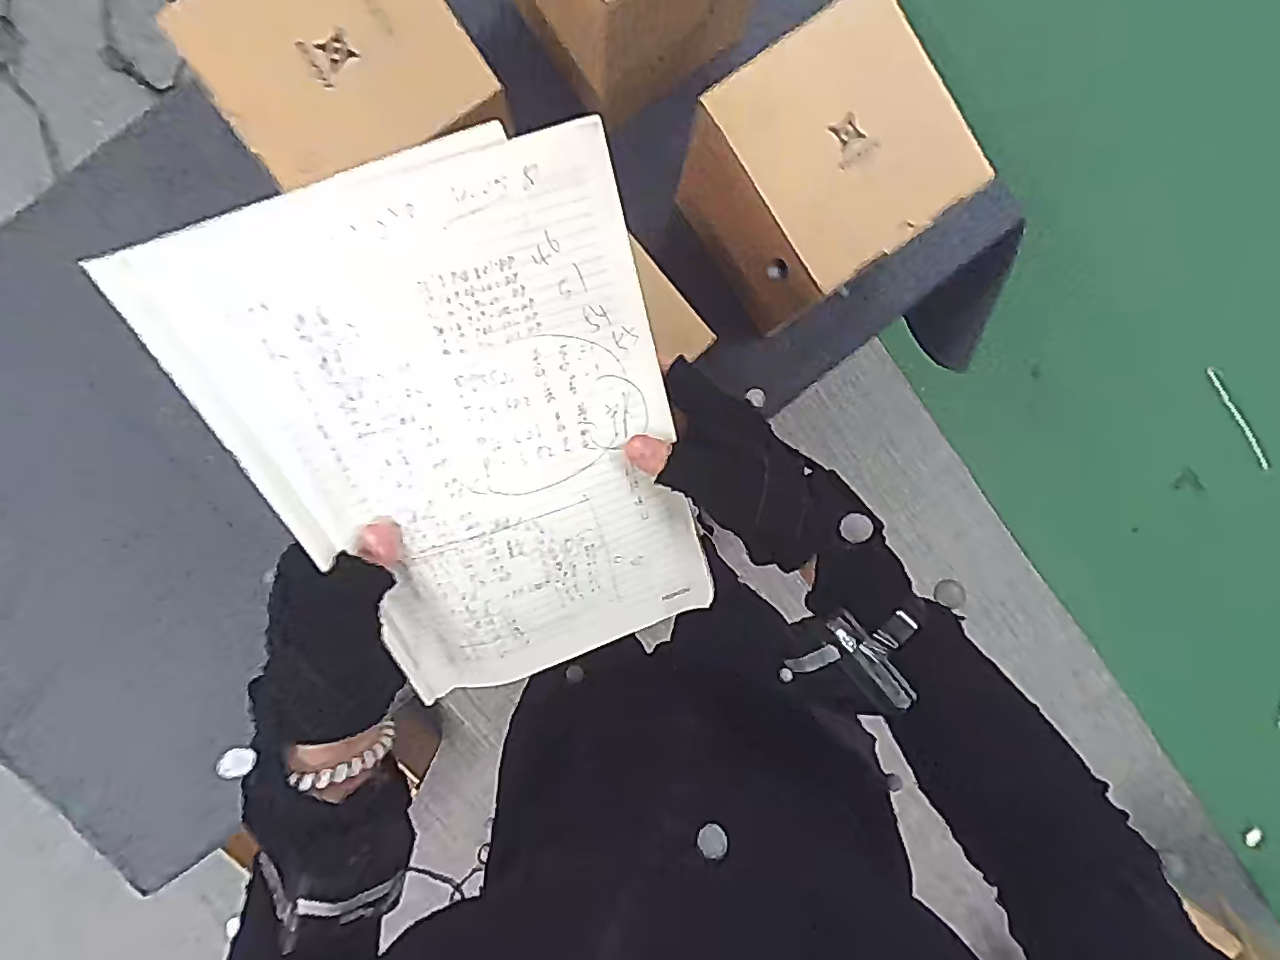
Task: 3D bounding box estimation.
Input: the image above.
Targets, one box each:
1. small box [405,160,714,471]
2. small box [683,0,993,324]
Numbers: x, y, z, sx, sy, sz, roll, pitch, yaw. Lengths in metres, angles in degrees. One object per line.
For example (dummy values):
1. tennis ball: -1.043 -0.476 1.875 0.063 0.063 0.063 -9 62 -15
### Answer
1. small box: -0.063 -0.126 0.484 0.179 0.176 0.168 -41 96 -1
2. small box: 0.156 -0.270 0.491 0.168 0.176 0.179 -35 96 -1
